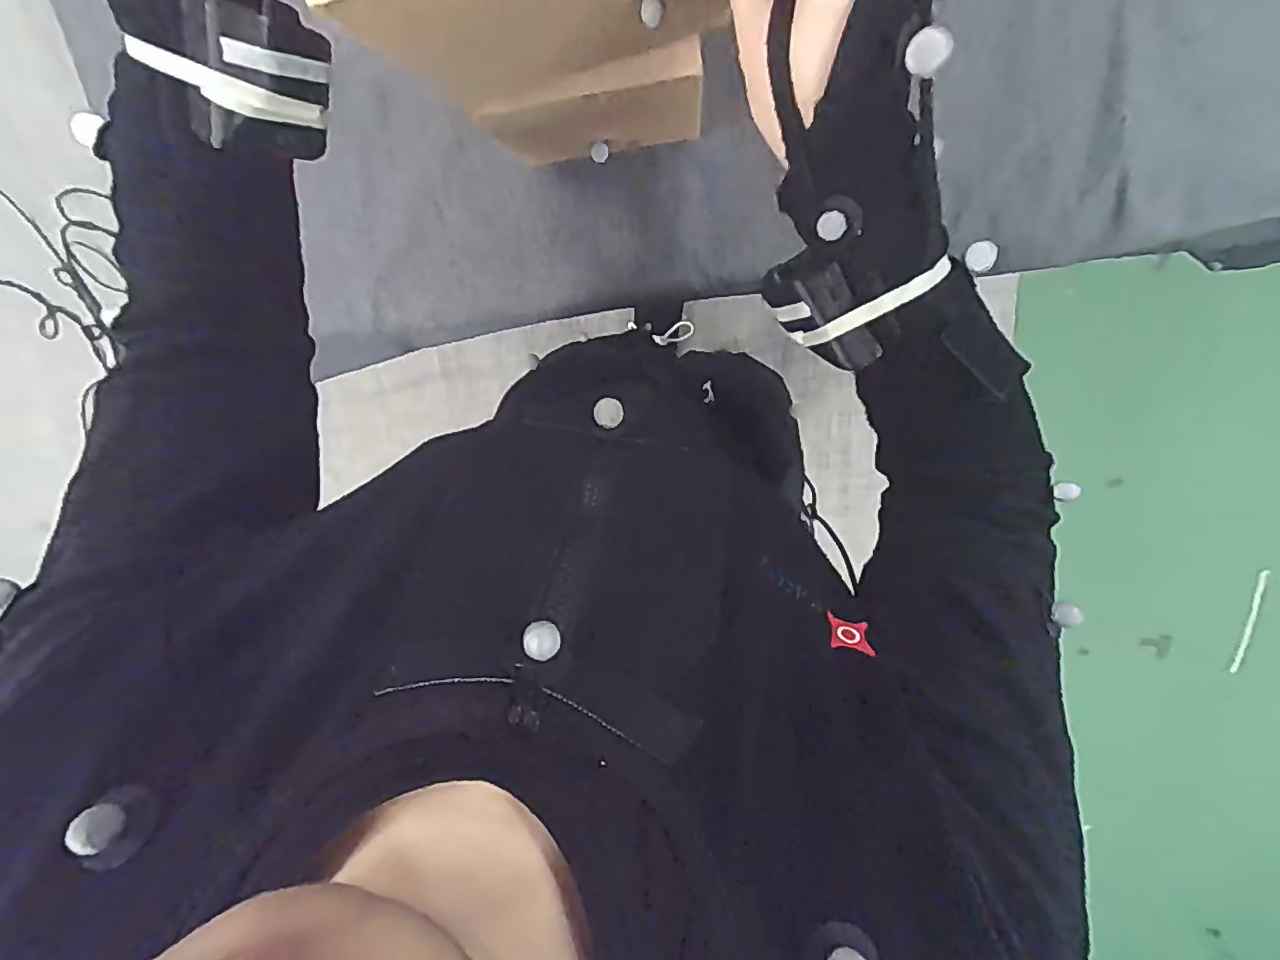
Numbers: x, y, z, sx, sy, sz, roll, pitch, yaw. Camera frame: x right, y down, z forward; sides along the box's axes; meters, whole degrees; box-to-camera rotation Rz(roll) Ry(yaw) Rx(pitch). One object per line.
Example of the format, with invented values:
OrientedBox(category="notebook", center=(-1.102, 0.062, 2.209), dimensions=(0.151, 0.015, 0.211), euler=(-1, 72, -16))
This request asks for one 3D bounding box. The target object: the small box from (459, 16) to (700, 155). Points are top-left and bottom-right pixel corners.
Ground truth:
OrientedBox(category="small box", center=(-0.044, -0.373, 0.410), dimensions=(0.168, 0.176, 0.179), euler=(-5, 111, 7))

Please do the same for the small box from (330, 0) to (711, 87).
OrientedBox(category="small box", center=(-0.052, -0.308, 0.238), dimensions=(0.179, 0.176, 0.168), euler=(-10, 113, 10))
